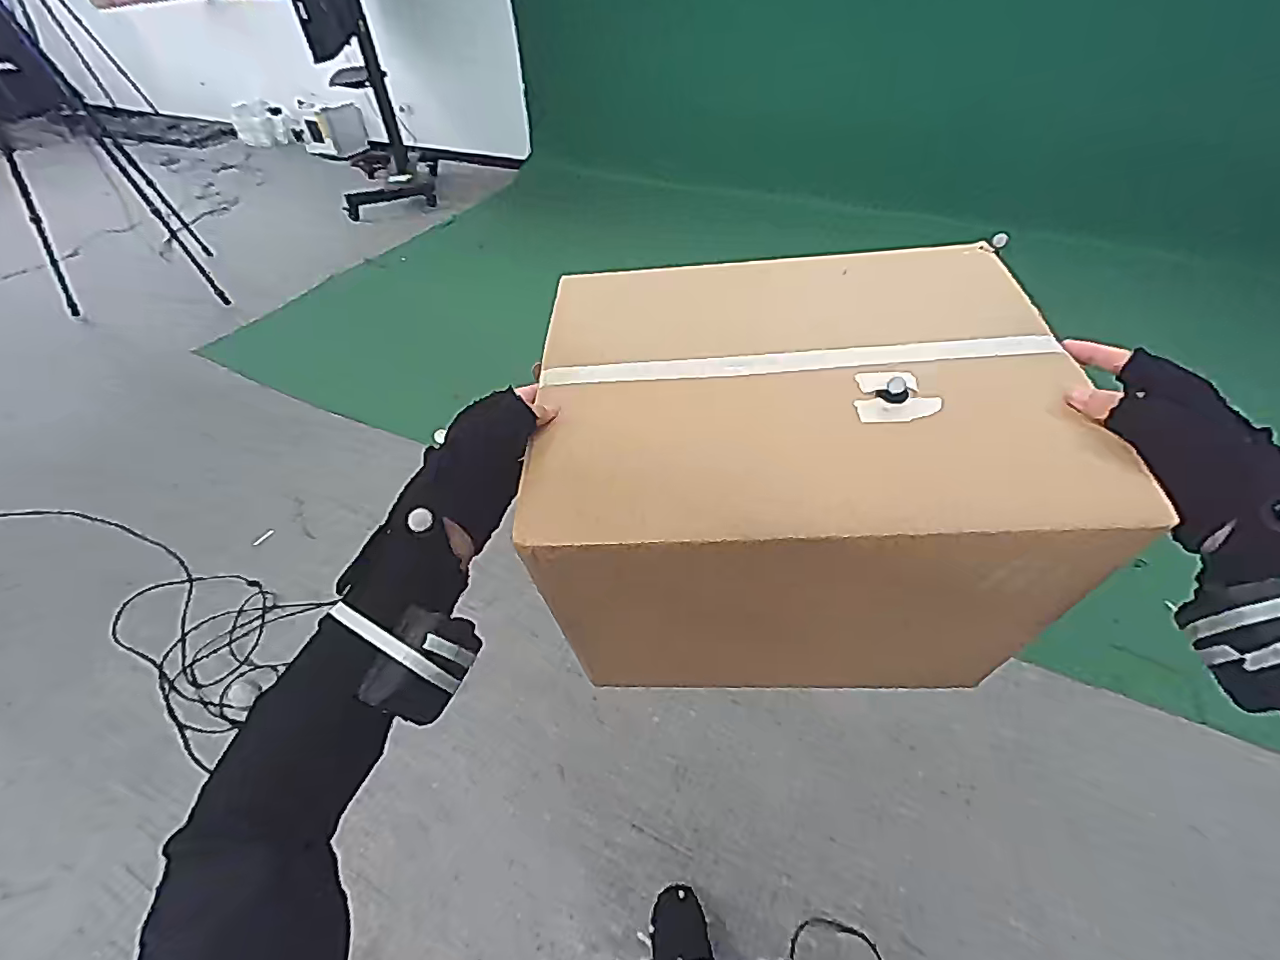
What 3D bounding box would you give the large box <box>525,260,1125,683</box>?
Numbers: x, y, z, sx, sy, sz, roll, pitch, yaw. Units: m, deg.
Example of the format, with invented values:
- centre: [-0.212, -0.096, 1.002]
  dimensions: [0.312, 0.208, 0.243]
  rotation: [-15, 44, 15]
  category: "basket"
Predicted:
- centre: [0.128, 0.006, 0.566]
  dimensions: [0.408, 0.320, 0.320]
  rotation: [-2, 52, 5]
  category: "large box"
